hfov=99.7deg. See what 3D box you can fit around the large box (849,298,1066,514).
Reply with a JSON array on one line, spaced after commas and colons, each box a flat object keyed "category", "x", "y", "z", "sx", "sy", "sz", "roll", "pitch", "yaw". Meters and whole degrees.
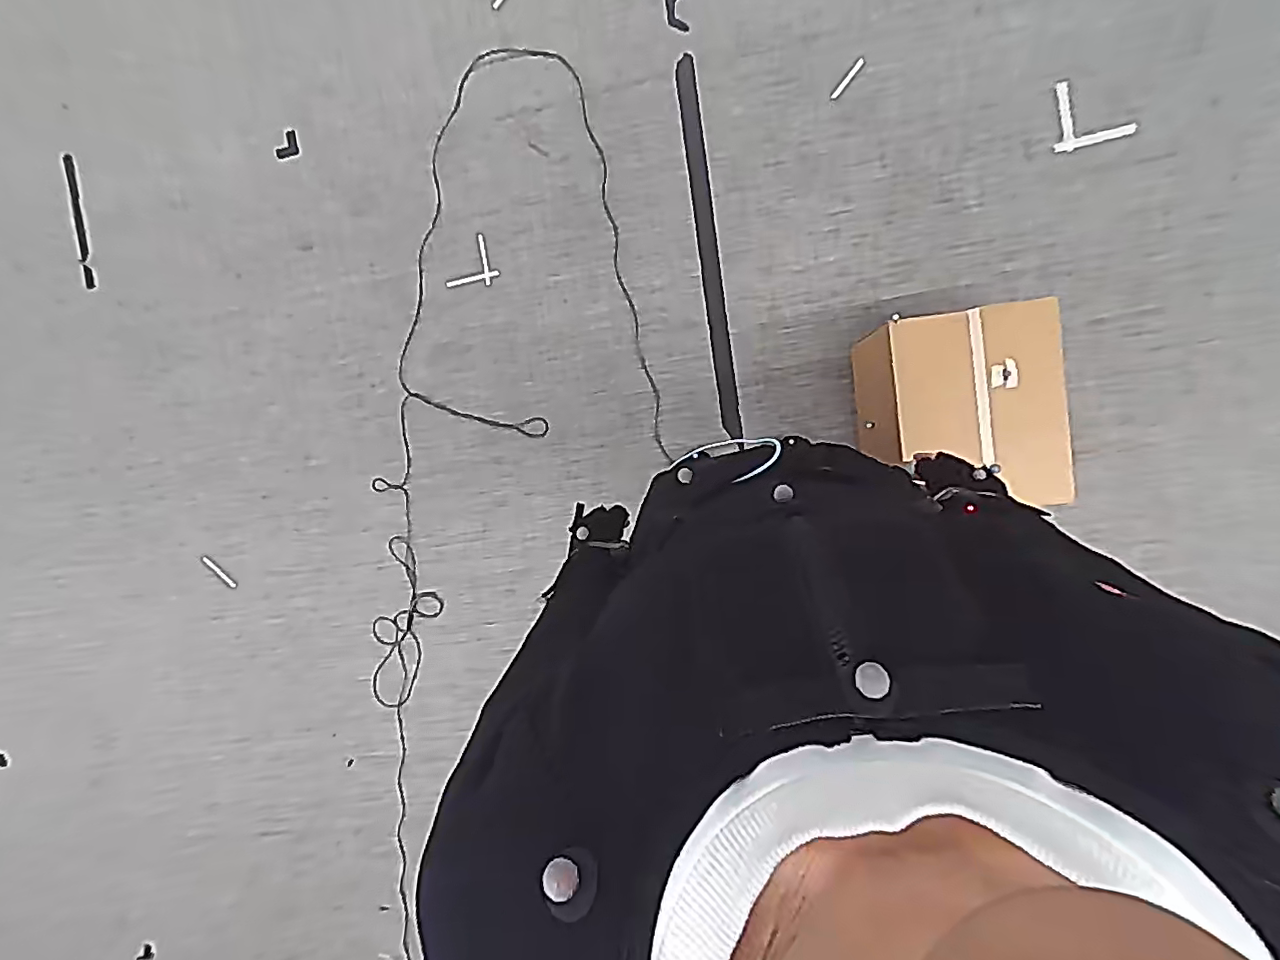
[{"category": "large box", "x": 0.690, "y": -0.151, "z": 1.235, "sx": 0.320, "sy": 0.320, "sz": 0.408, "roll": -7, "pitch": 92, "yaw": 7}]
